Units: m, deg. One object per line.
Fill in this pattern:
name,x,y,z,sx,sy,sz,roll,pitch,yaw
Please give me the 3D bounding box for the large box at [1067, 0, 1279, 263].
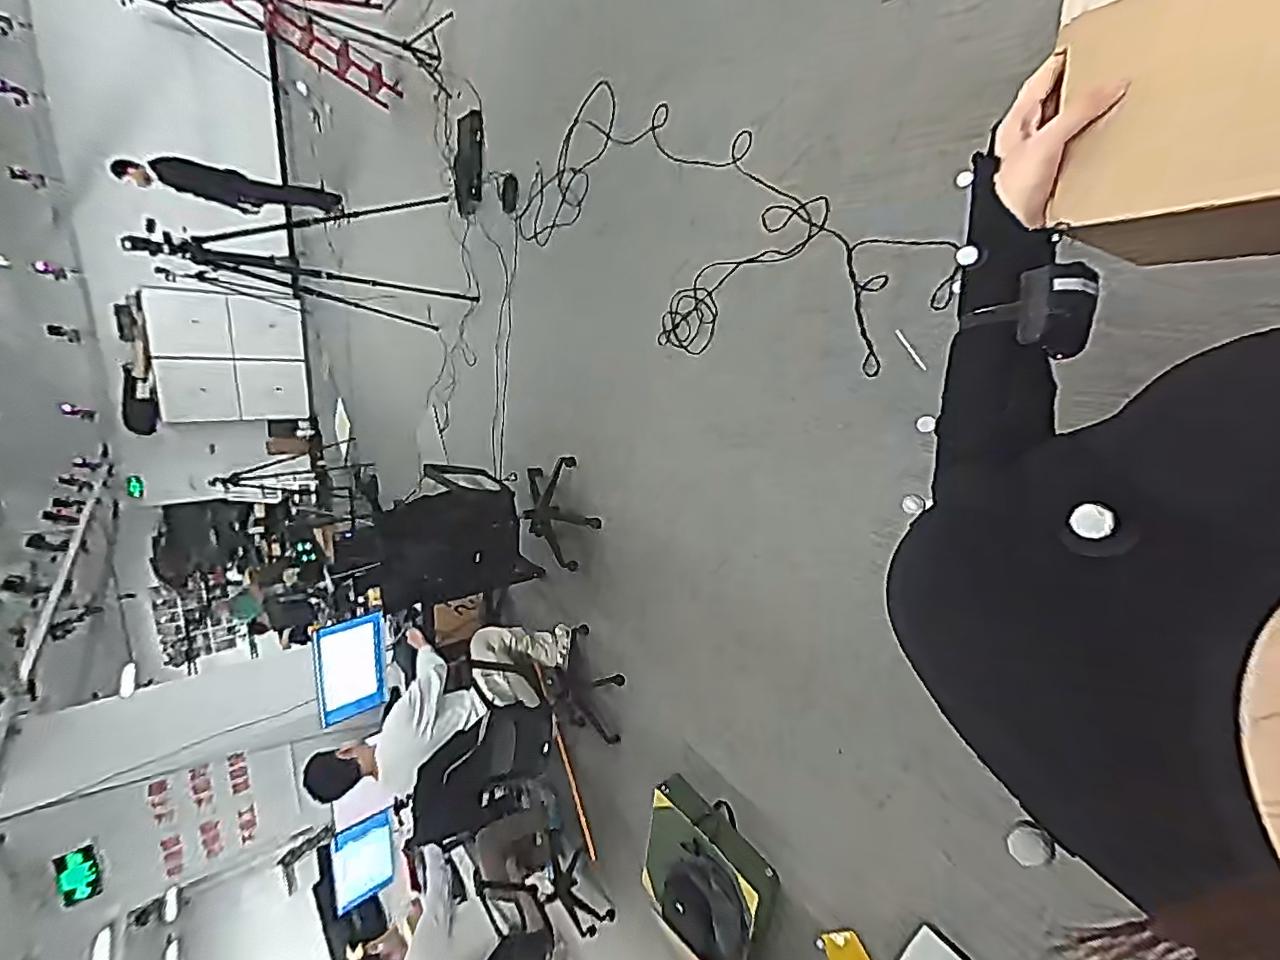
large box,0.571,-0.342,0.338,0.408,0.320,0.320,14,110,49
